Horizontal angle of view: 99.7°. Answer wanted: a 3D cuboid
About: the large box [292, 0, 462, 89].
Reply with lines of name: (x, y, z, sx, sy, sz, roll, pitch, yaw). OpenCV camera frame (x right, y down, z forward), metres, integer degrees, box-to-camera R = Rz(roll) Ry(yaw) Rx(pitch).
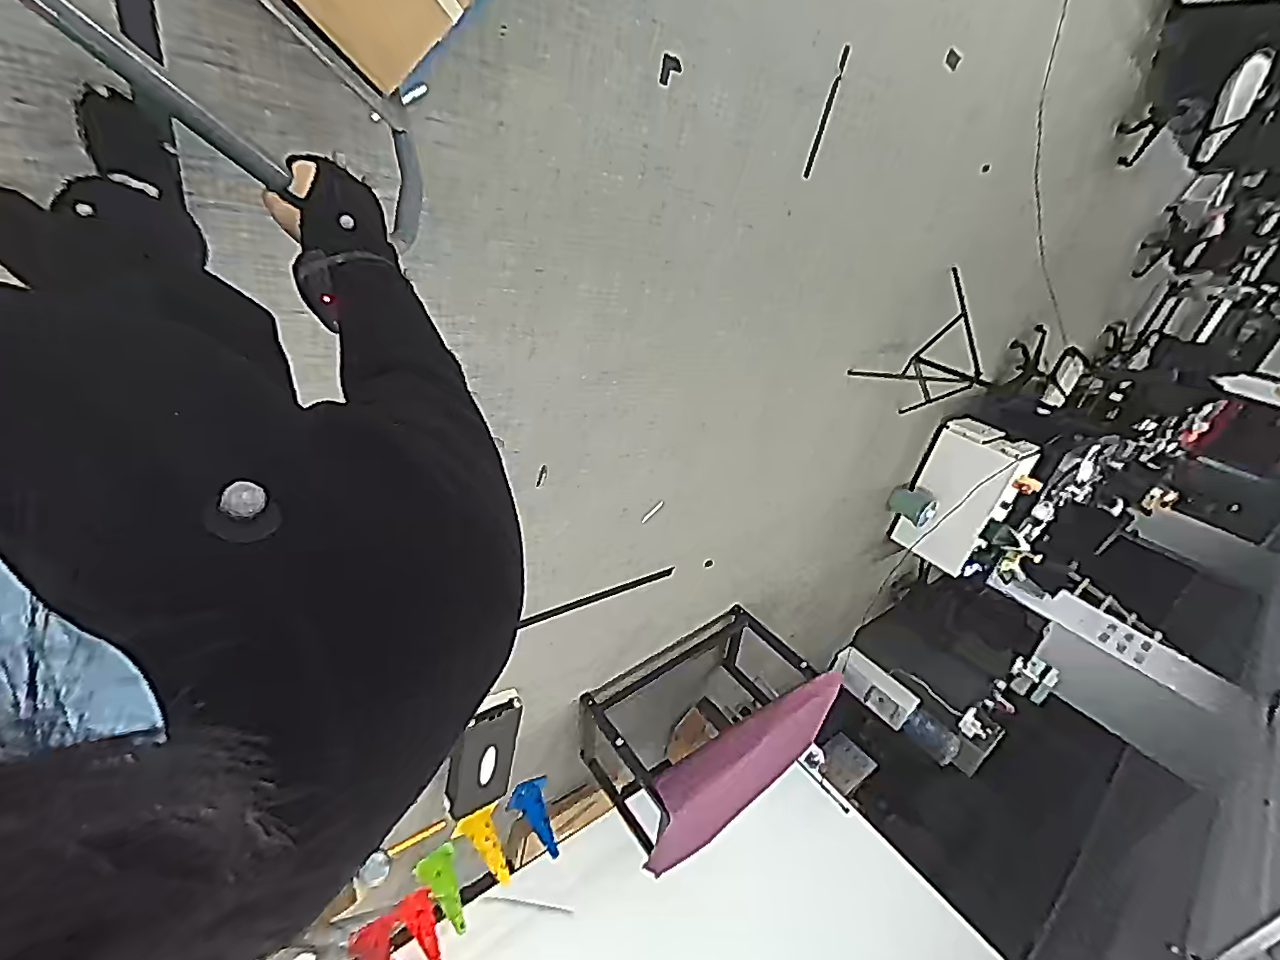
large box: (-0.437, -0.857, 0.720, 0.320, 0.320, 0.408, -38, 143, 13)
